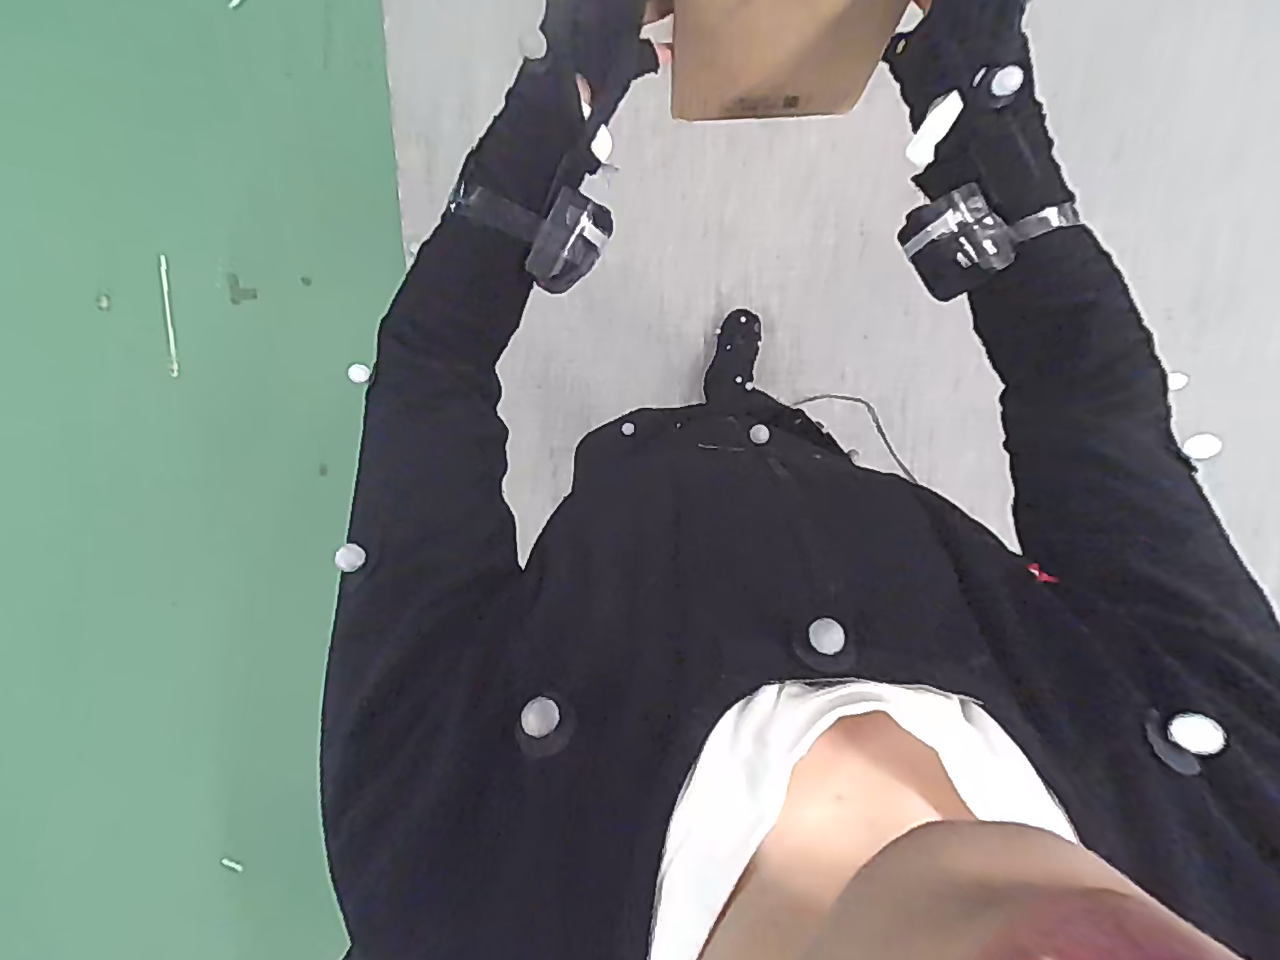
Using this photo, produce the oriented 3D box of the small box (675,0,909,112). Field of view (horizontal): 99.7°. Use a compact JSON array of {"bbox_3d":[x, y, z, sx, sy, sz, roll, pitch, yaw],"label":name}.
[{"bbox_3d":[0.112,-0.426,0.414,0.168,0.176,0.179,-1,88,2],"label":"small box"}]
